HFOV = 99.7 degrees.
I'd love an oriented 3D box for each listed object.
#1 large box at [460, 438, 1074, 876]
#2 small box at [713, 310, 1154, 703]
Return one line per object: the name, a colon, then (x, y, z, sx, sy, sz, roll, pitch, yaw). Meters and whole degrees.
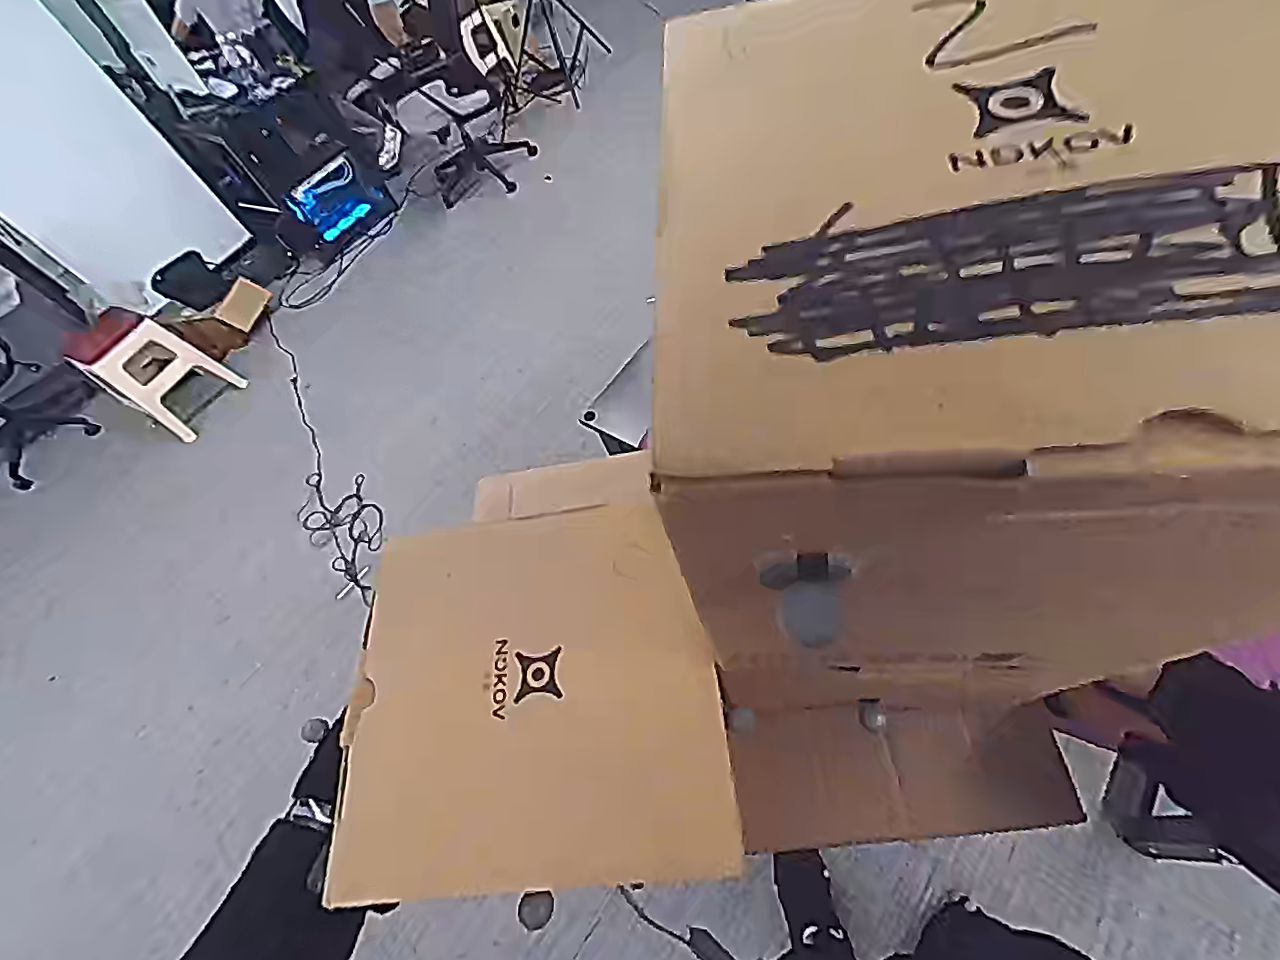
large box: (0.084, 0.169, 0.546, 0.408, 0.320, 0.320, -11, 59, 7)
small box: (0.133, 0.029, 0.327, 0.168, 0.176, 0.179, -4, 61, 11)
